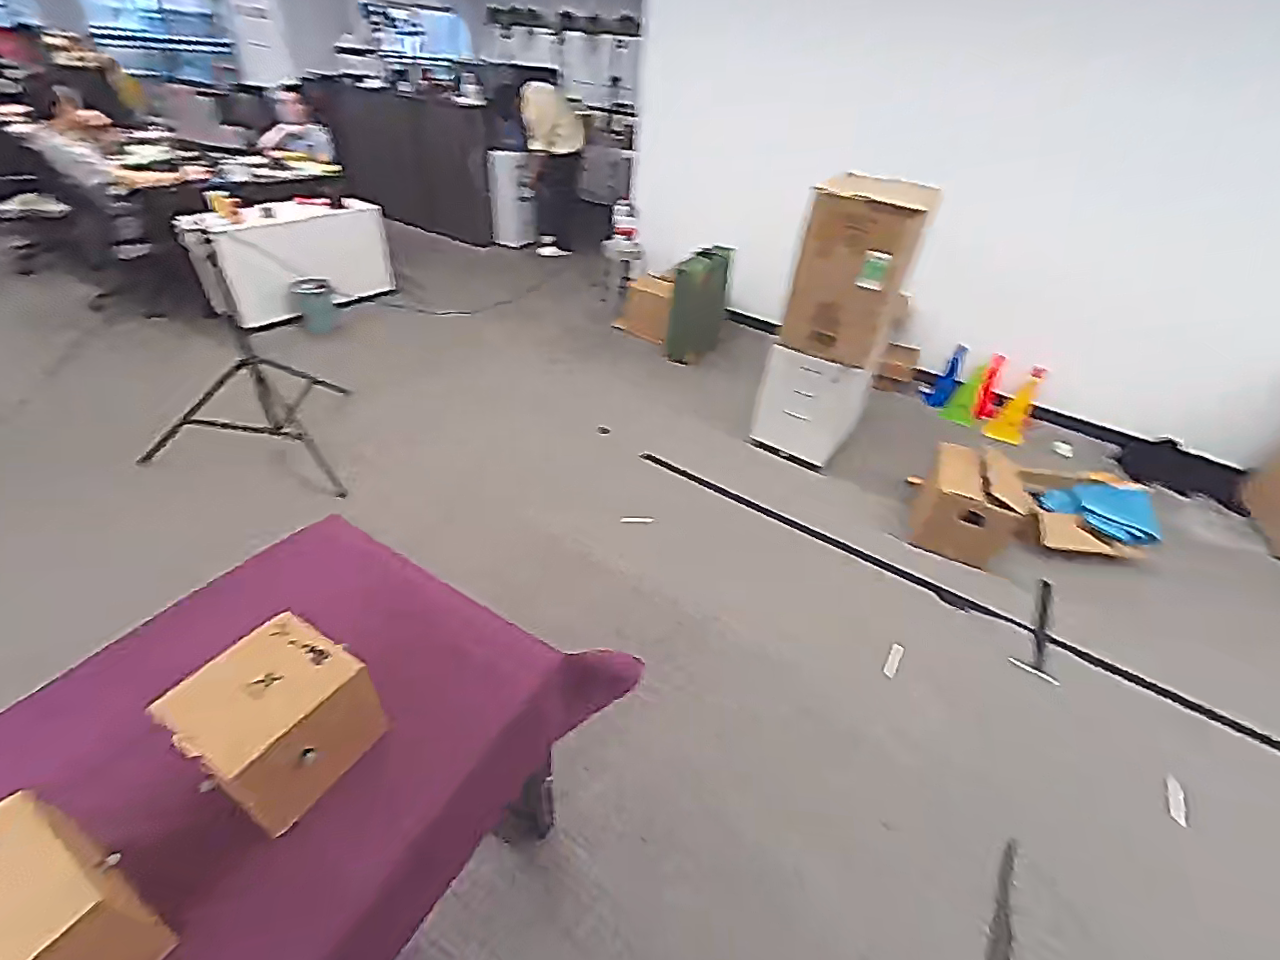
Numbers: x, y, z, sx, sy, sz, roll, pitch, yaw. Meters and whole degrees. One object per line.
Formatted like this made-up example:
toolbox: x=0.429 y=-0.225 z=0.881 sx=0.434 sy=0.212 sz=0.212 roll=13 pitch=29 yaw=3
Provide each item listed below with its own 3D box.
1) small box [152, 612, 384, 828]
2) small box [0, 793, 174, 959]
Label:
small box: x=-0.483 y=0.322 z=0.730 sx=0.168 sy=0.176 sz=0.179 roll=22 pitch=41 yaw=21
small box: x=-0.621 y=0.461 z=0.530 sx=0.179 sy=0.176 sz=0.168 roll=23 pitch=41 yaw=21
